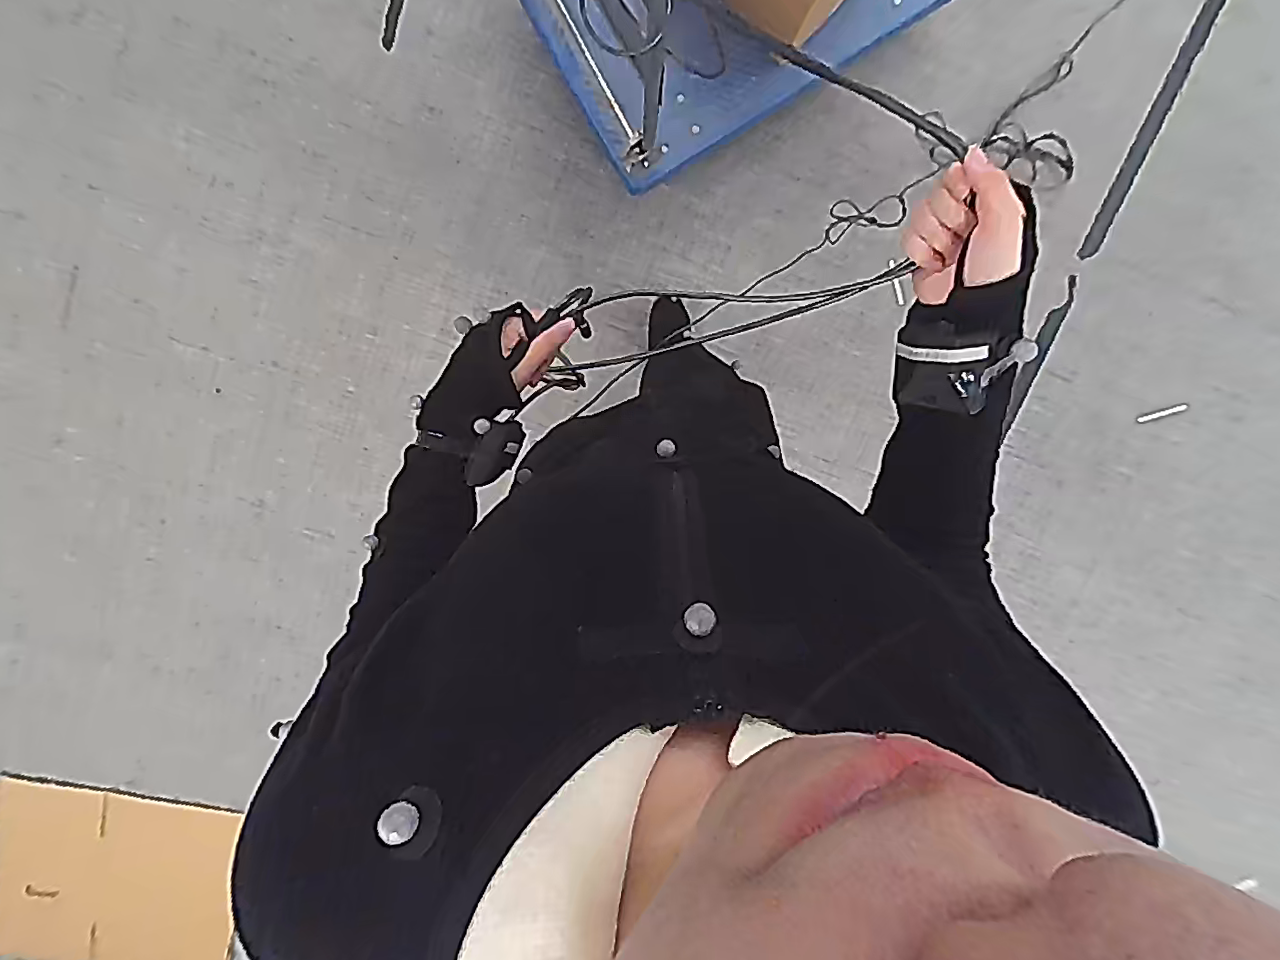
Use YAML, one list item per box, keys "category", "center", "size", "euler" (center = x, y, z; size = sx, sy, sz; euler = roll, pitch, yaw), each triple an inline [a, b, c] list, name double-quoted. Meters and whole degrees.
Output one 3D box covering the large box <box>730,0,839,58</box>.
- category: "large box"
  center: [0.273, -1.105, 0.962]
  size: [0.408, 0.320, 0.320]
  euler: [44, 97, -10]
